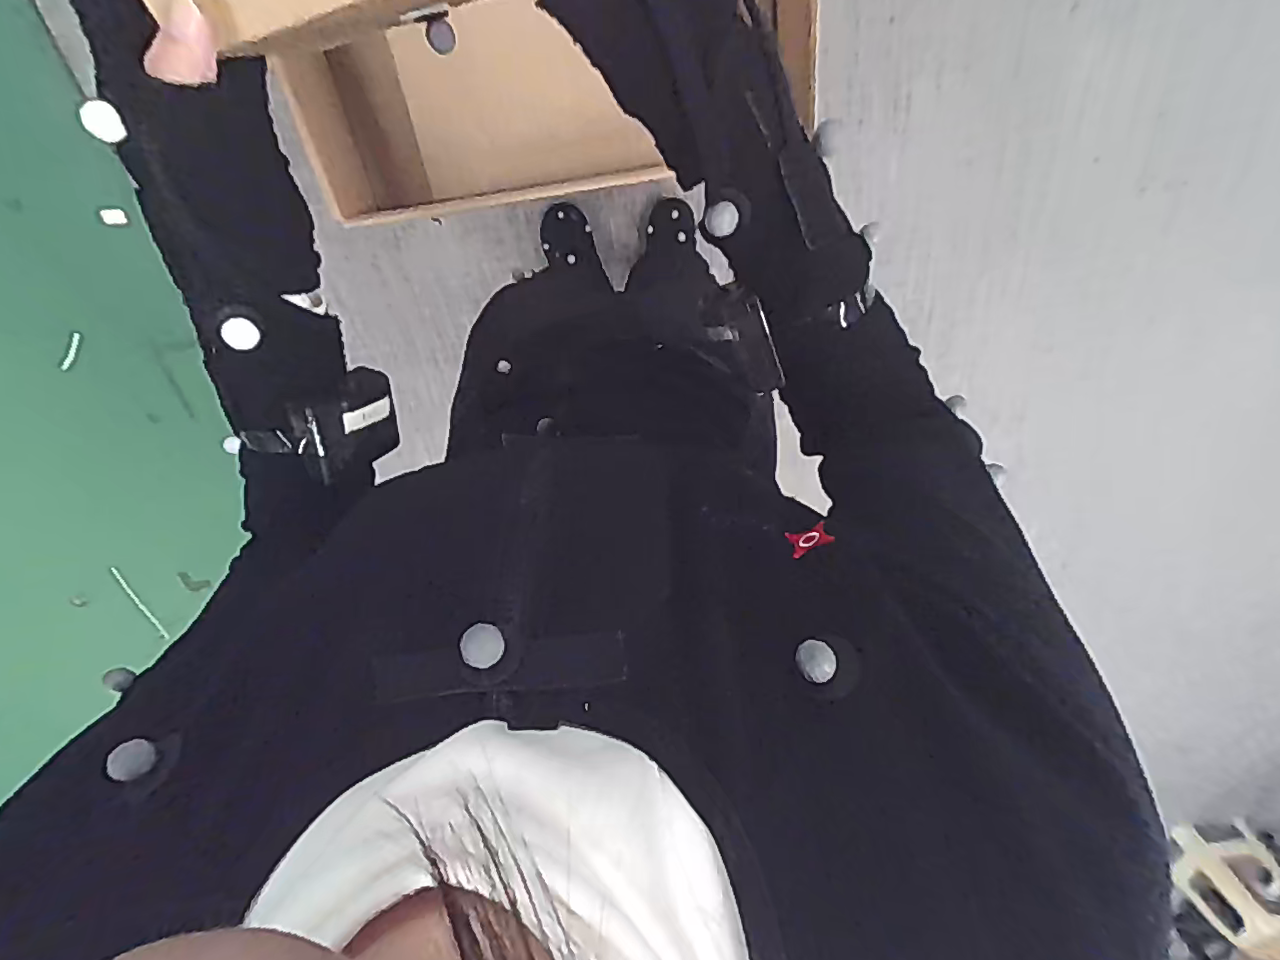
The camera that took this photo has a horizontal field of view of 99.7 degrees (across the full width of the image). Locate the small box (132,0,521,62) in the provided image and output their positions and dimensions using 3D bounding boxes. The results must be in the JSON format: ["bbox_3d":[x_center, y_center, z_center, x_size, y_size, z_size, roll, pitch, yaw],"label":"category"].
[{"bbox_3d":[-0.126,-0.292,0.210,0.168,0.176,0.179,-13,130,7],"label":"small box"}]
